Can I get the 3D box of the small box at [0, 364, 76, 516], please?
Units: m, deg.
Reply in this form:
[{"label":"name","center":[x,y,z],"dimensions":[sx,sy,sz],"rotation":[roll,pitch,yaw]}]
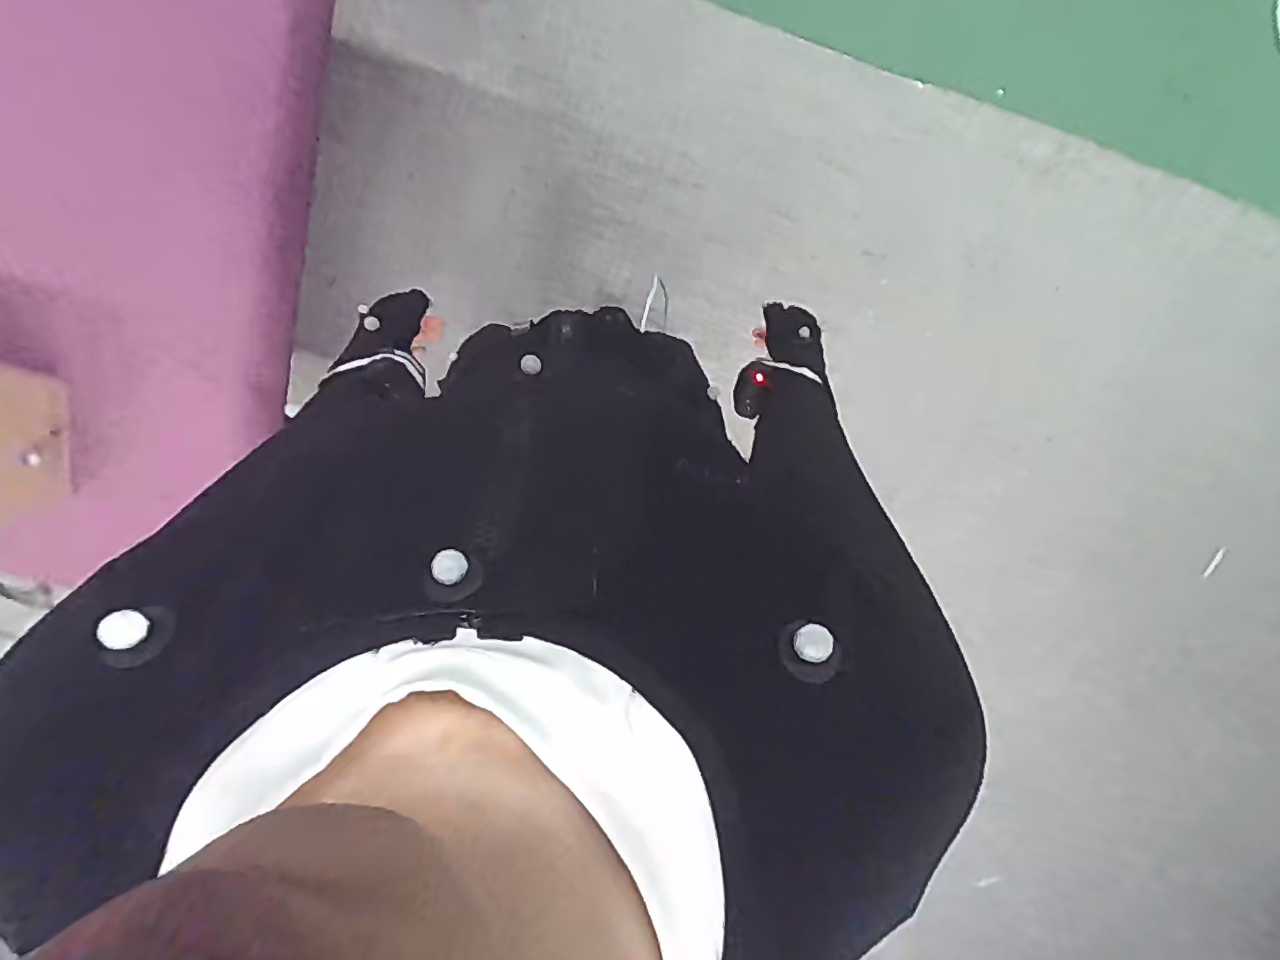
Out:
[{"label":"small box","center":[-0.815,-0.048,0.613],"dimensions":[0.179,0.176,0.168],"rotation":[17,106,-7]}]
